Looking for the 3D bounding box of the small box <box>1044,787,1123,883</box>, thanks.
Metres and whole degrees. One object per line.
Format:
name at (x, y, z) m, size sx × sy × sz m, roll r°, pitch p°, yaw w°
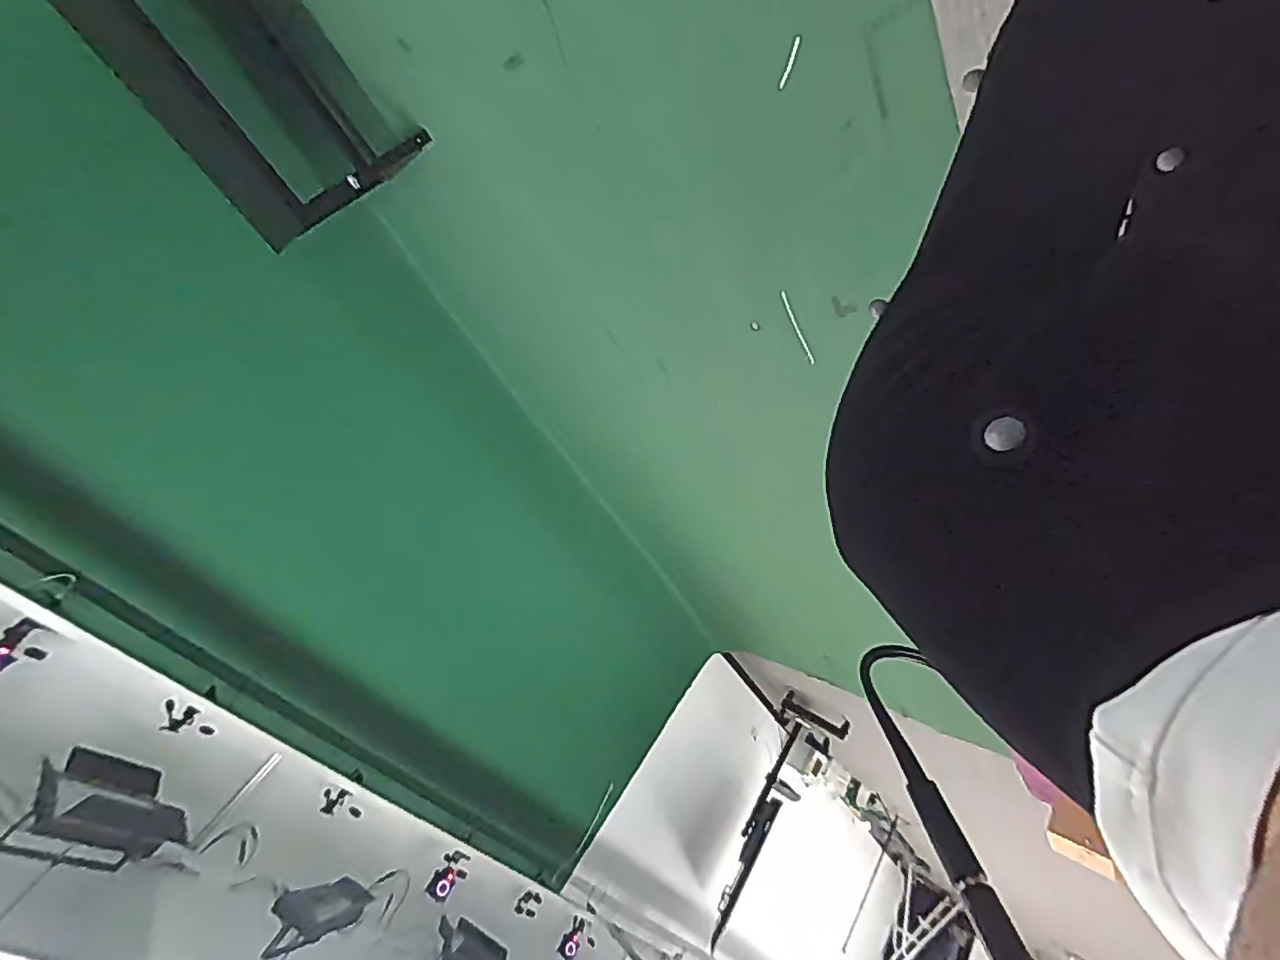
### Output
small box at (1.422, 1.129, 1.730) m, size 0.168 × 0.176 × 0.179 m, roll 7°, pitch 140°, yaw 49°
